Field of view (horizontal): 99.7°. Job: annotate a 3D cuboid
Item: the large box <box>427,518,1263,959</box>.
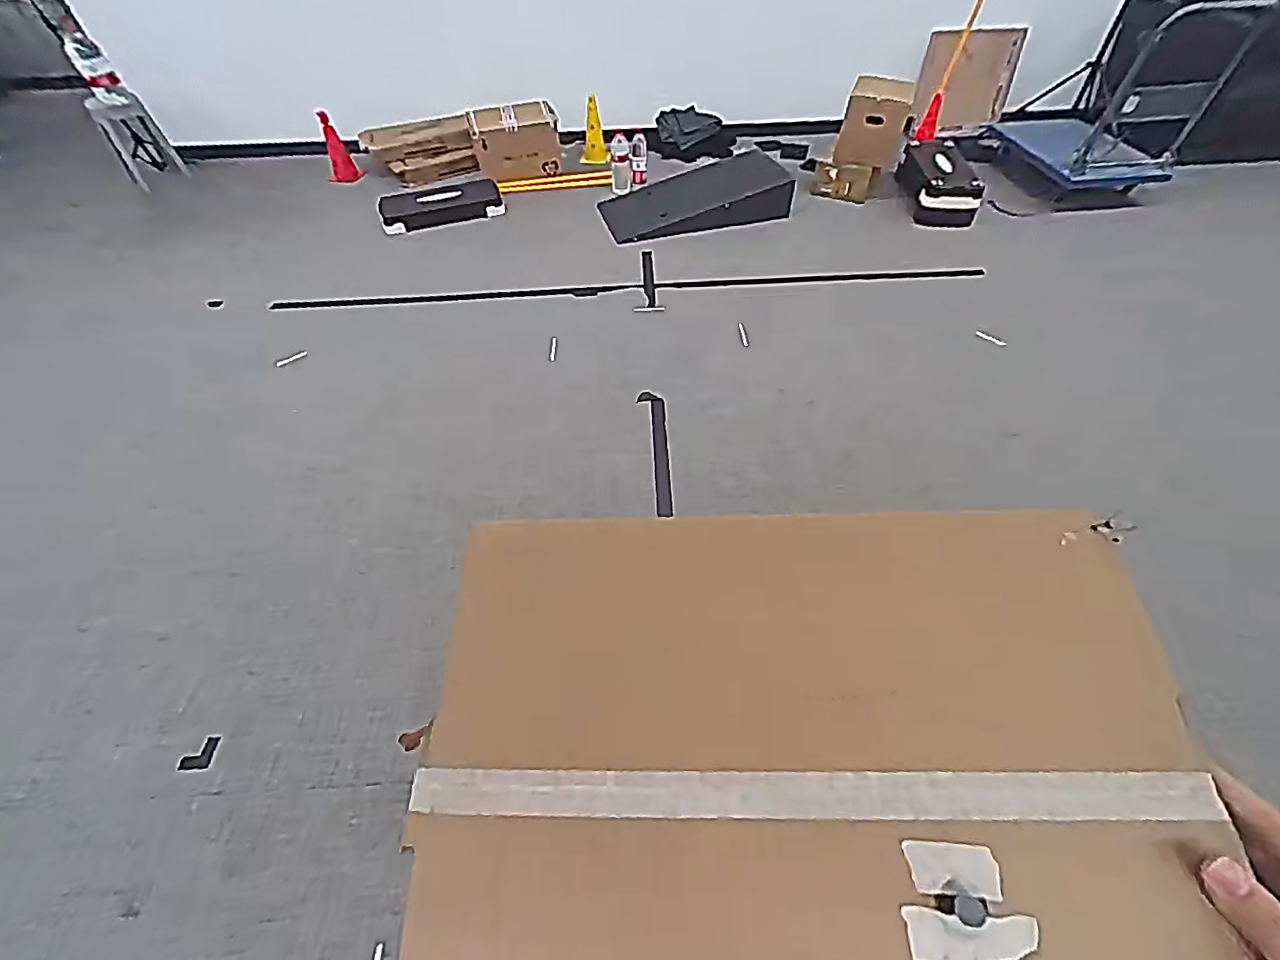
[{"bbox_3d":[0.097,0.237,0.424,0.408,0.320,0.320,-2,64,3],"label":"large box"}]
